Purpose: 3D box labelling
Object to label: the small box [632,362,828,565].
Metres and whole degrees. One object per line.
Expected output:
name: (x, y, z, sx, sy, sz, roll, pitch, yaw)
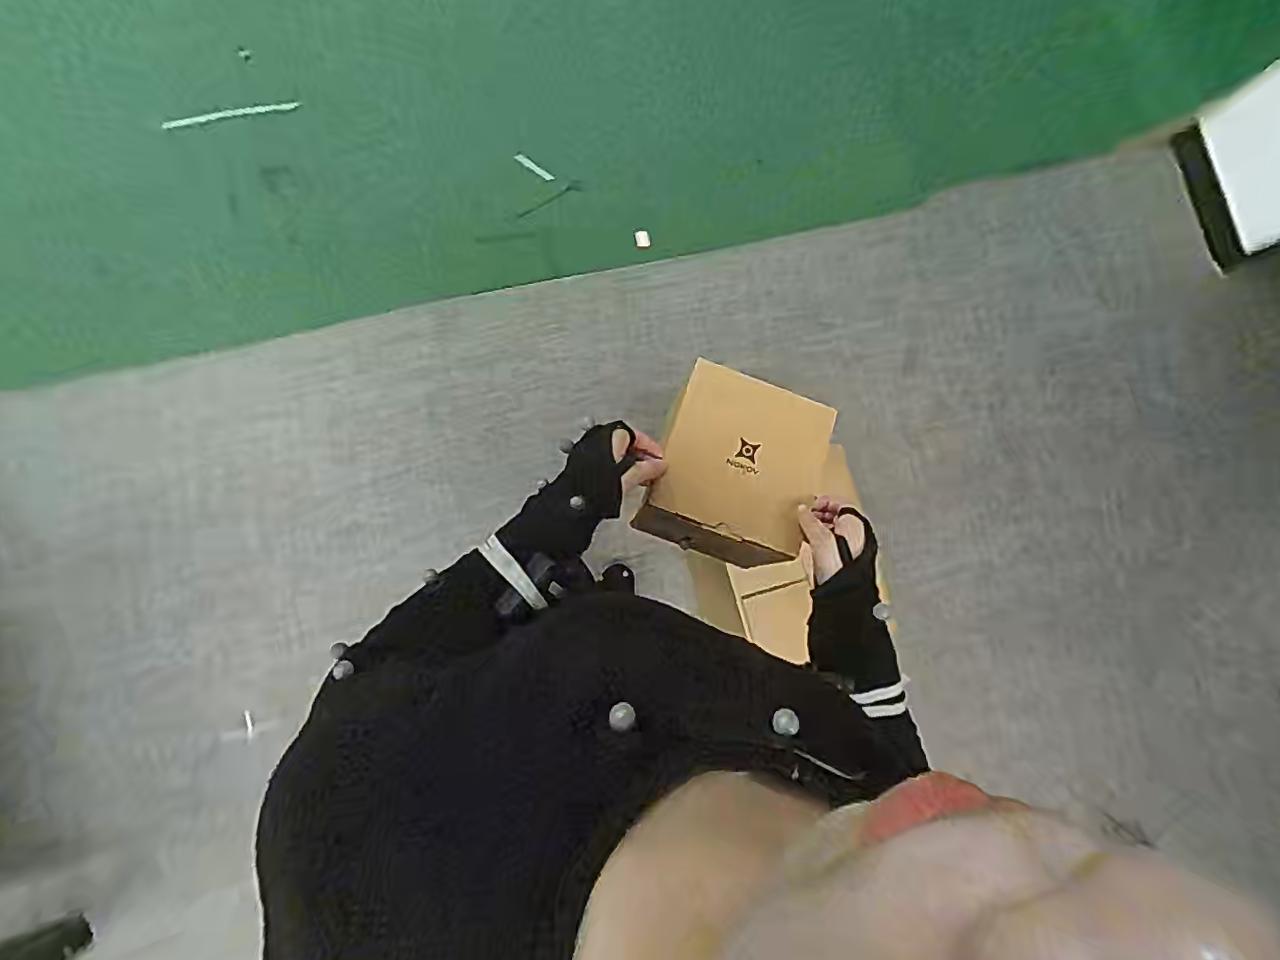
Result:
small box: (0.095, -0.007, 0.644, 0.168, 0.176, 0.179, 19, 78, -2)
